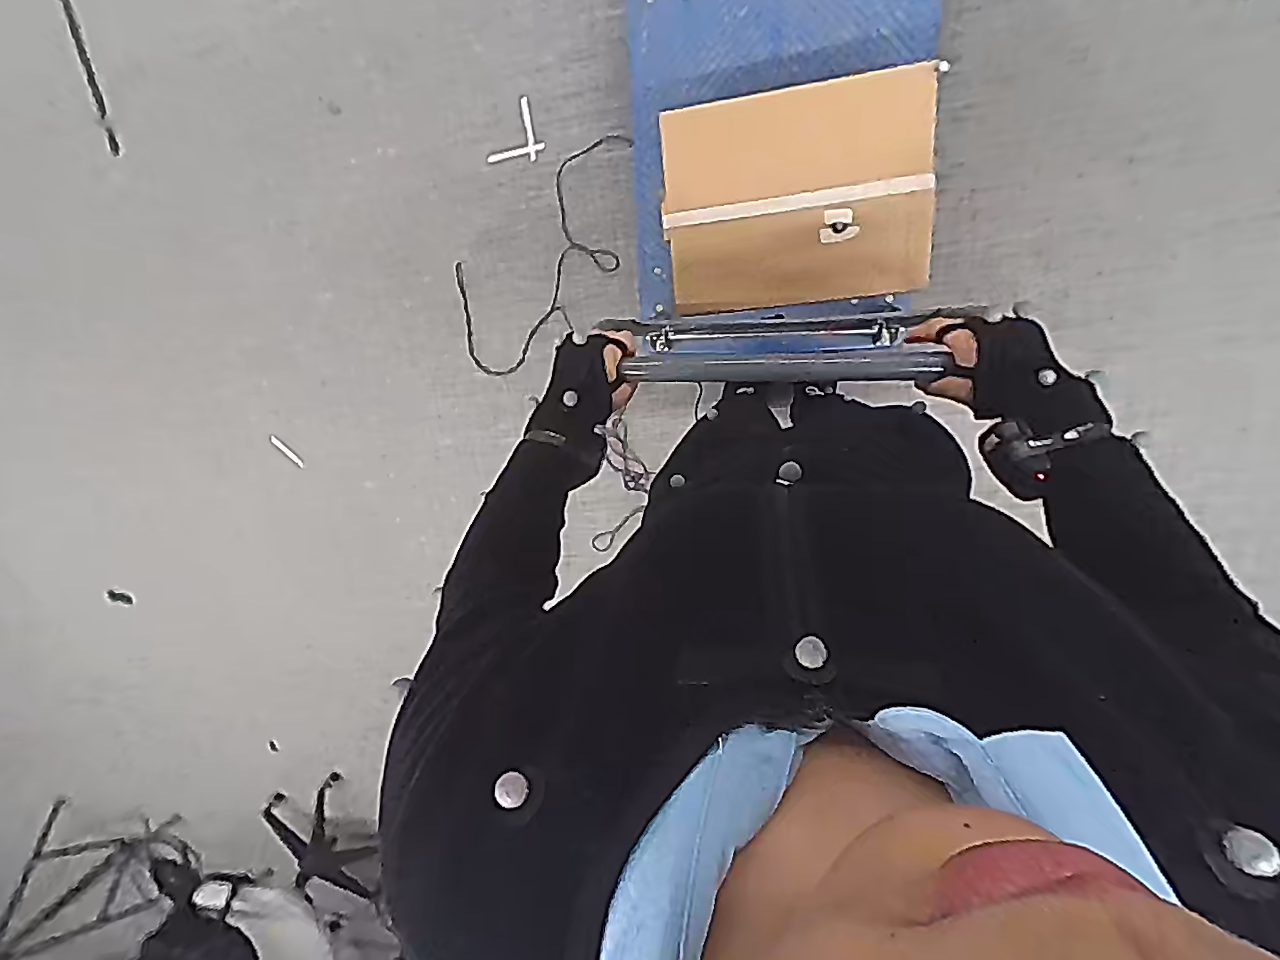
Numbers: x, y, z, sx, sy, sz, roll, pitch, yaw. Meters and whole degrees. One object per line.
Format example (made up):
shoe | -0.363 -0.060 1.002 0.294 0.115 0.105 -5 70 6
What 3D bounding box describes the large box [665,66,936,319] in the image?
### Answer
large box | 0.276 -0.485 1.001 0.408 0.320 0.320 -3 108 11
